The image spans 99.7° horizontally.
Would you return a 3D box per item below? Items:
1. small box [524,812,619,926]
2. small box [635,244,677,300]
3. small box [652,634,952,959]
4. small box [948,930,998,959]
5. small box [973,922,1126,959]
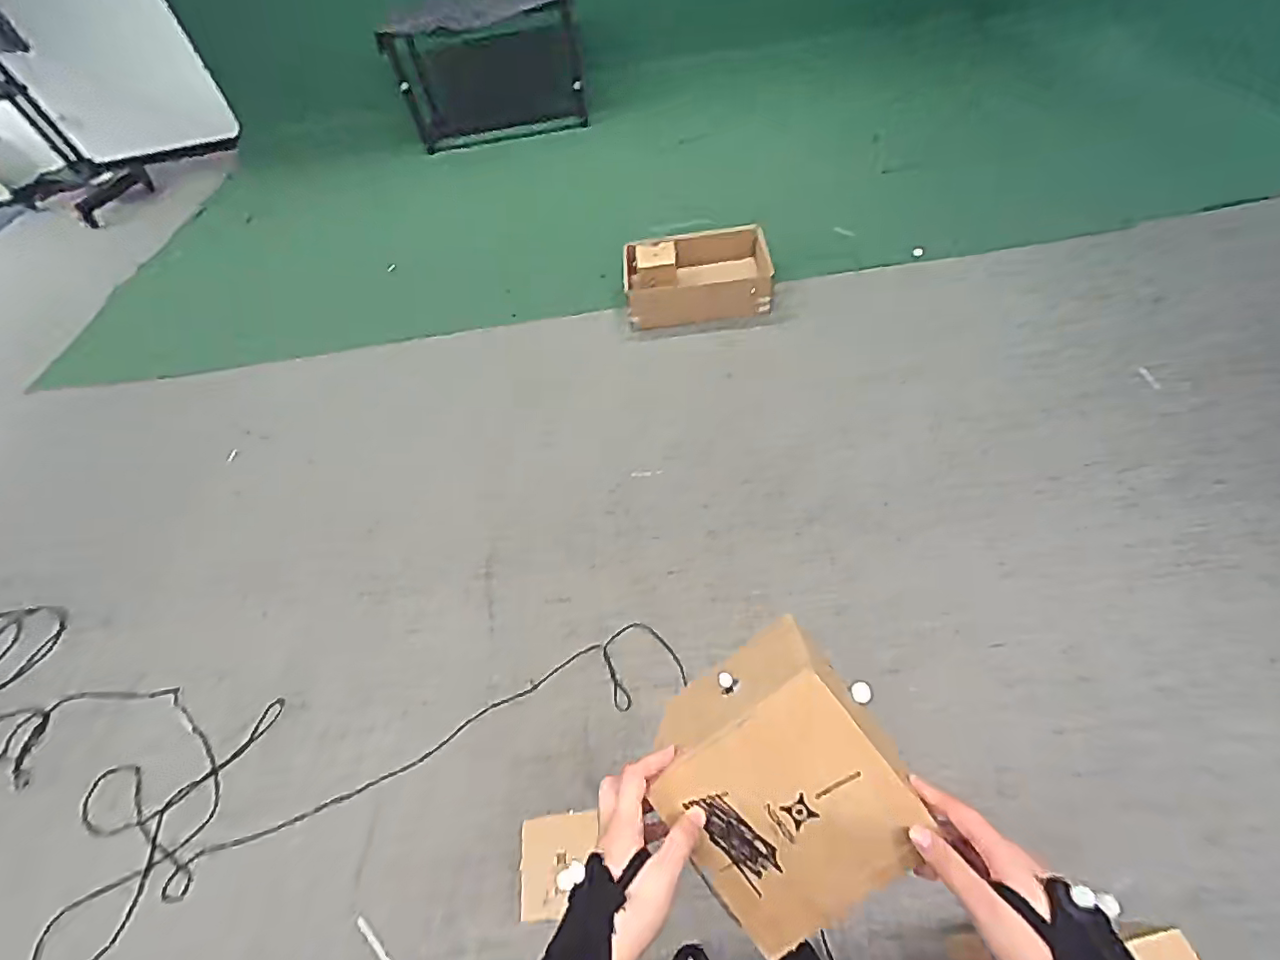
[{"bbox_3d":[-0.143,0.837,1.161,0.168,0.176,0.179,-10,51,2],"label":"small box"},{"bbox_3d":[0.073,-0.921,2.411,0.168,0.176,0.179,-6,53,4],"label":"small box"},{"bbox_3d":[0.138,0.276,0.506,0.179,0.176,0.168,-38,85,8],"label":"small box"},{"bbox_3d":[0.683,0.922,0.970,0.179,0.176,0.168,-10,52,2],"label":"small box"},{"bbox_3d":[0.660,0.816,0.848,0.179,0.176,0.168,-11,53,-1],"label":"small box"}]
